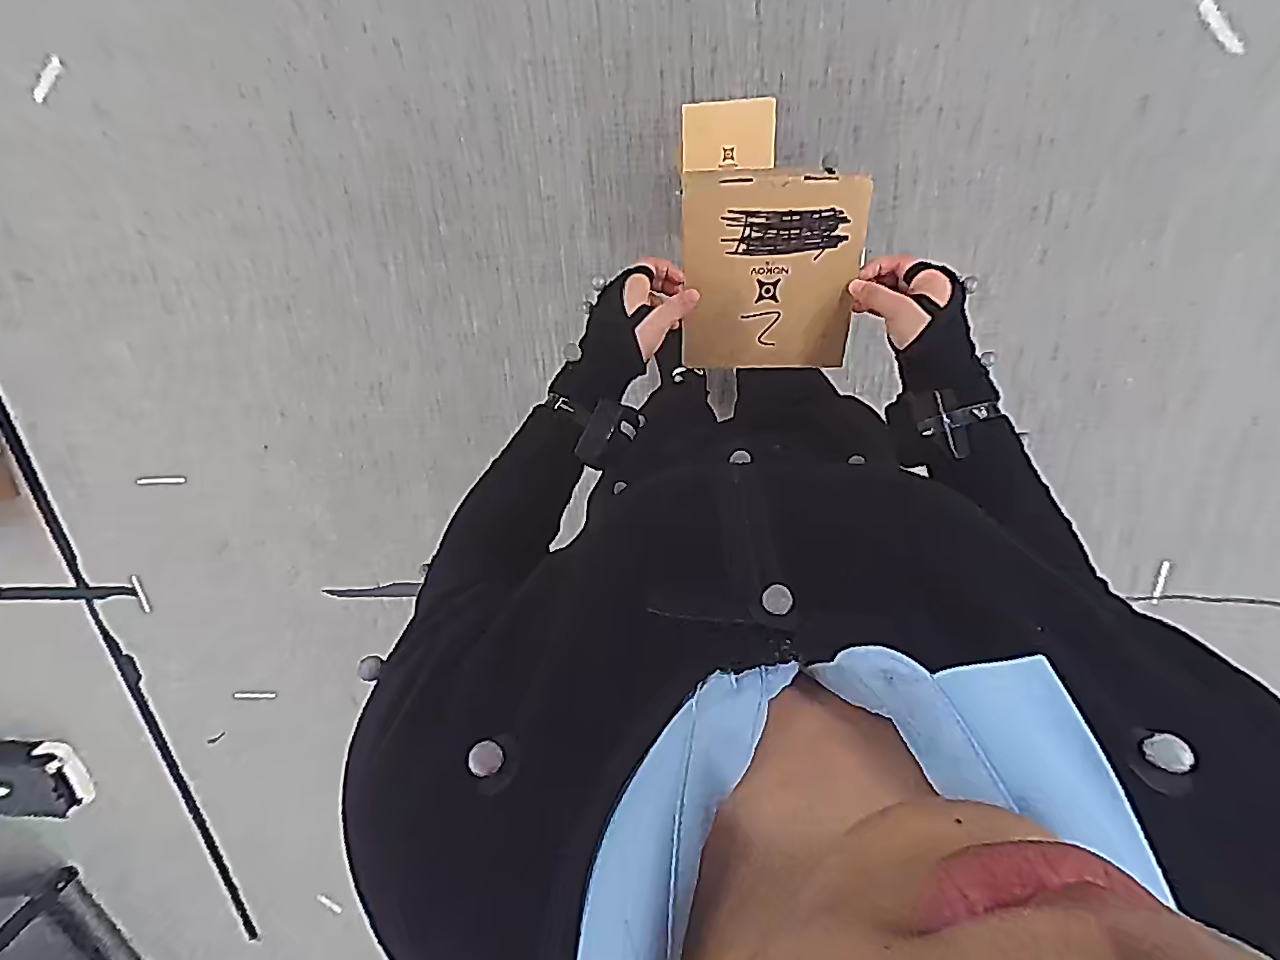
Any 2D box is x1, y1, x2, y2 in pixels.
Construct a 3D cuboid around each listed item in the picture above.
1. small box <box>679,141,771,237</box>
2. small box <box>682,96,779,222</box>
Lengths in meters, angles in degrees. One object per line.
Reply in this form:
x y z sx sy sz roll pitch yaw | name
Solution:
0.182 -0.654 1.191 0.168 0.176 0.179 -13 109 9 | small box
0.165 -0.604 1.036 0.168 0.176 0.179 -2 110 4 | small box
